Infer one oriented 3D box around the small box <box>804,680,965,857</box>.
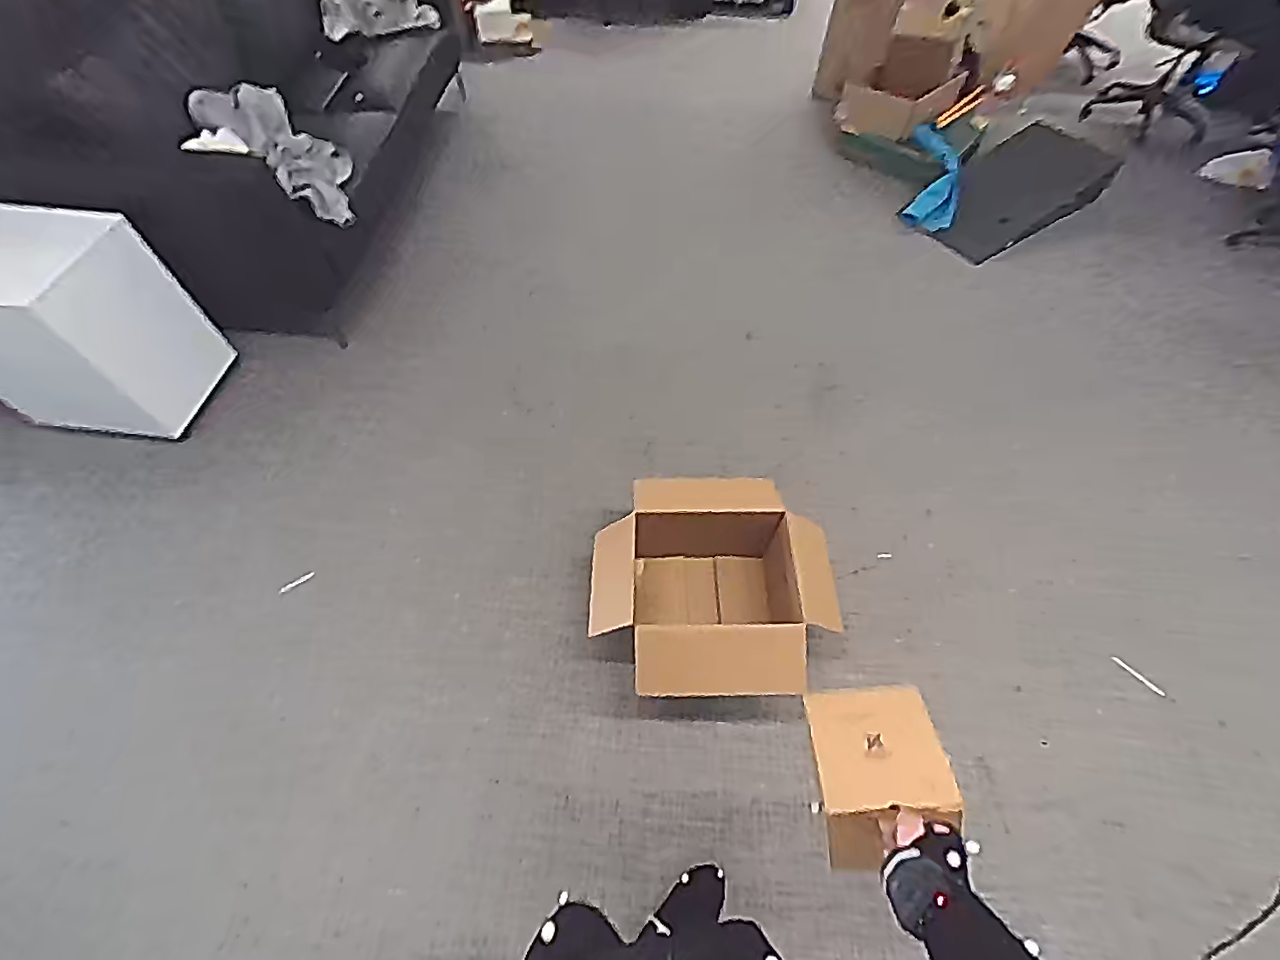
[{"bbox_3d":[0.342,0.420,0.783,0.168,0.176,0.179,-9,35,9],"label":"small box"}]
